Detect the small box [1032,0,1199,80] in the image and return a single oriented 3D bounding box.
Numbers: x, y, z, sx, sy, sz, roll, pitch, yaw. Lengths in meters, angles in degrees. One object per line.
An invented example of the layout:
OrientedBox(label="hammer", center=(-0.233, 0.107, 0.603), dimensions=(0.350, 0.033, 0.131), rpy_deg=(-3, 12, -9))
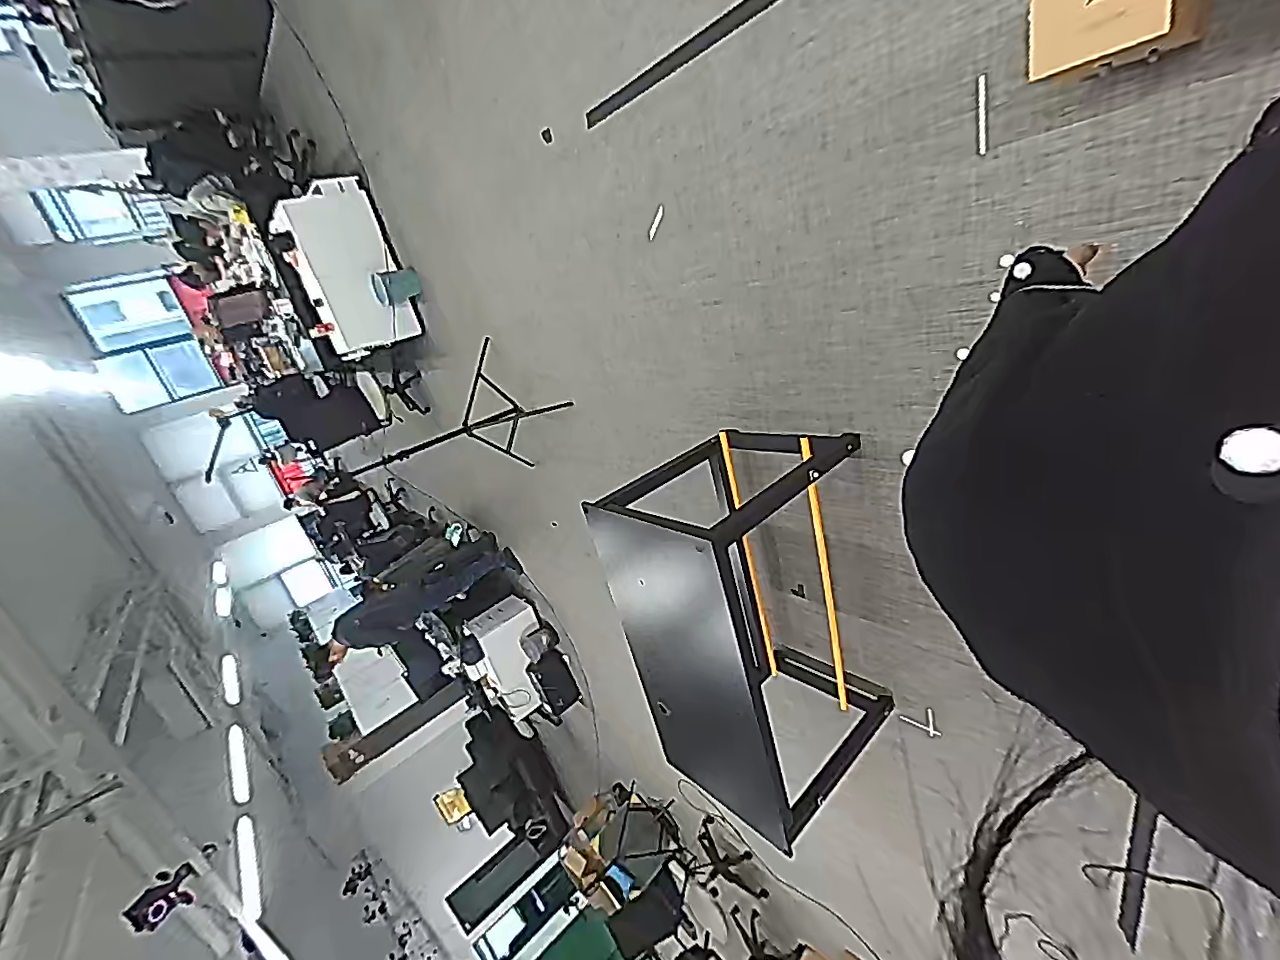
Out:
OrientedBox(label="small box", center=(0.716, -0.736, 0.813), dimensions=(0.168, 0.176, 0.179), rpy_deg=(13, 126, 51))

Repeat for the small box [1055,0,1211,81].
OrientedBox(label="small box", center=(0.832, -0.801, 0.907), dimensions=(0.179, 0.176, 0.168), rpy_deg=(14, 125, 49))
